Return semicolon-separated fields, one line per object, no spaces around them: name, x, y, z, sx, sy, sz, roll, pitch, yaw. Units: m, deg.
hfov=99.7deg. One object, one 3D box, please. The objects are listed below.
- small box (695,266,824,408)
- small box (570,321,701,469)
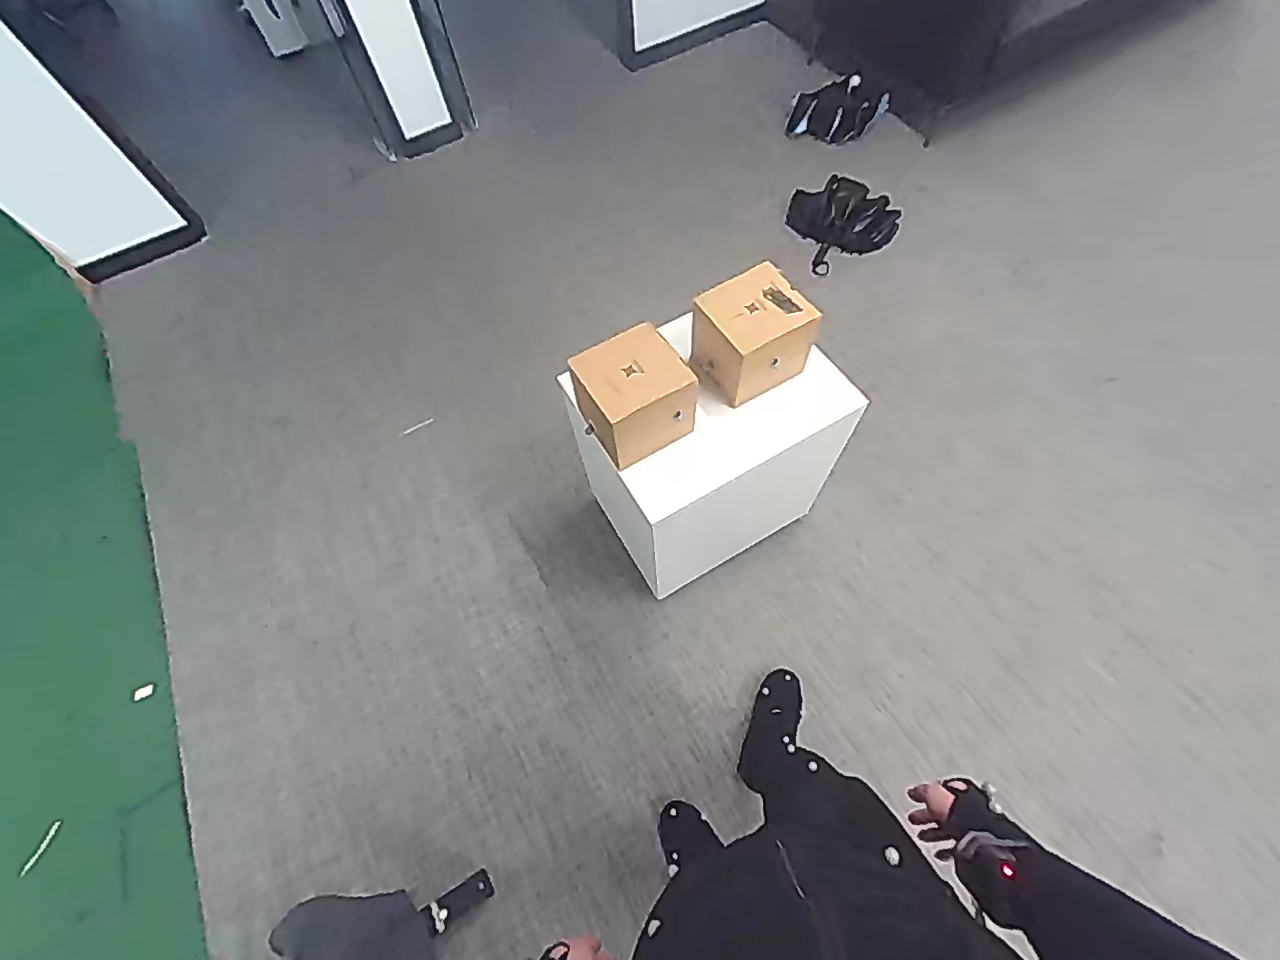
small box;0.221;-0.275;1.058;0.179;0.176;0.168;-28;65;-11
small box;-0.008;-0.154;1.003;0.179;0.176;0.168;-29;64;-13
